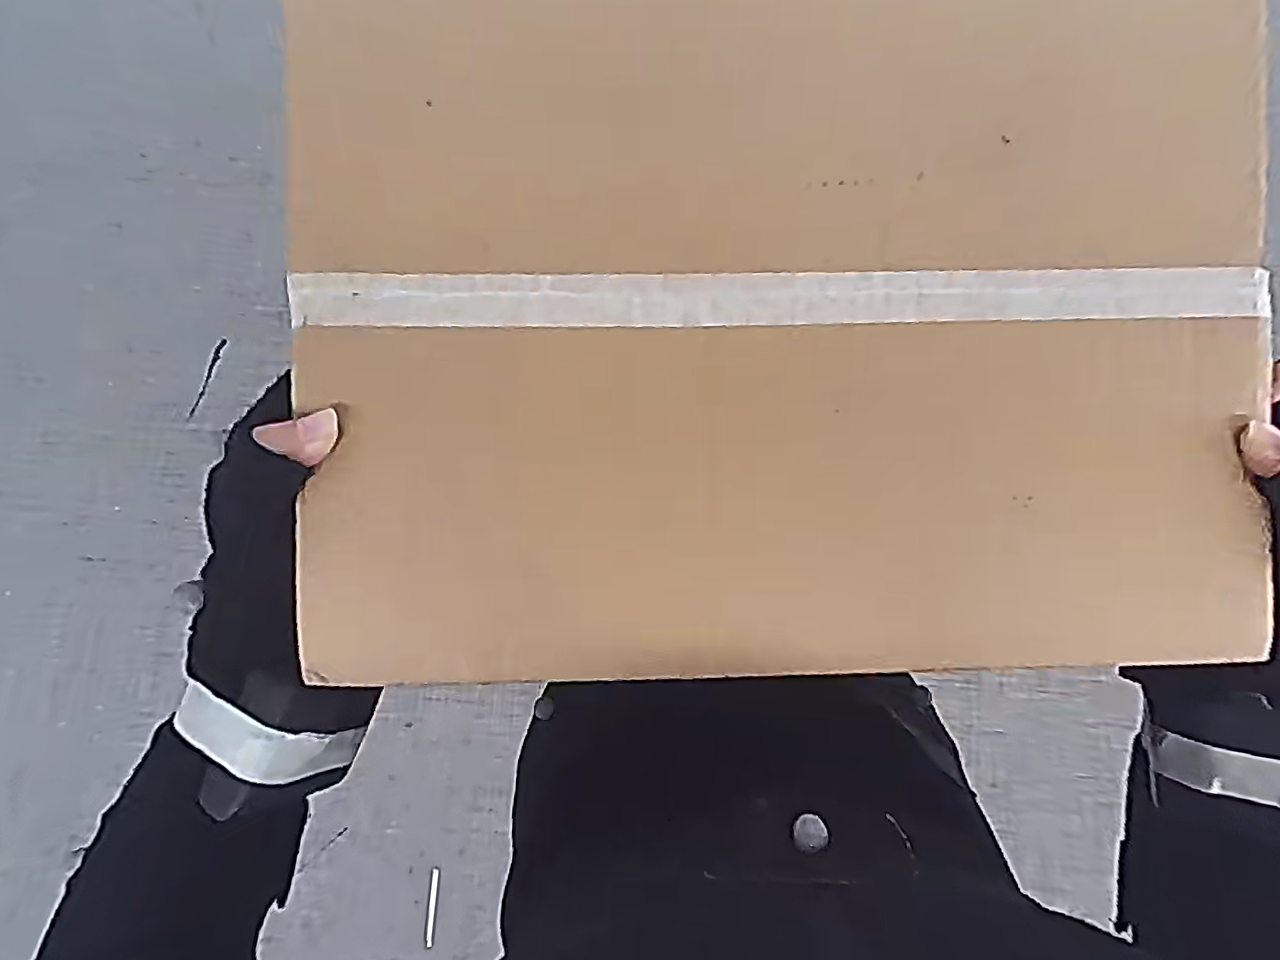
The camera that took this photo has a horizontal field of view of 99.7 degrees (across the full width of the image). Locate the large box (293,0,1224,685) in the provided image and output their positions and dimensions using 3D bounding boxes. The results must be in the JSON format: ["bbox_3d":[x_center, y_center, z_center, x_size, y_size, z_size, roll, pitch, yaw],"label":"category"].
[{"bbox_3d":[0.054,-0.076,0.384,0.408,0.320,0.320,-1,91,-2],"label":"large box"}]
